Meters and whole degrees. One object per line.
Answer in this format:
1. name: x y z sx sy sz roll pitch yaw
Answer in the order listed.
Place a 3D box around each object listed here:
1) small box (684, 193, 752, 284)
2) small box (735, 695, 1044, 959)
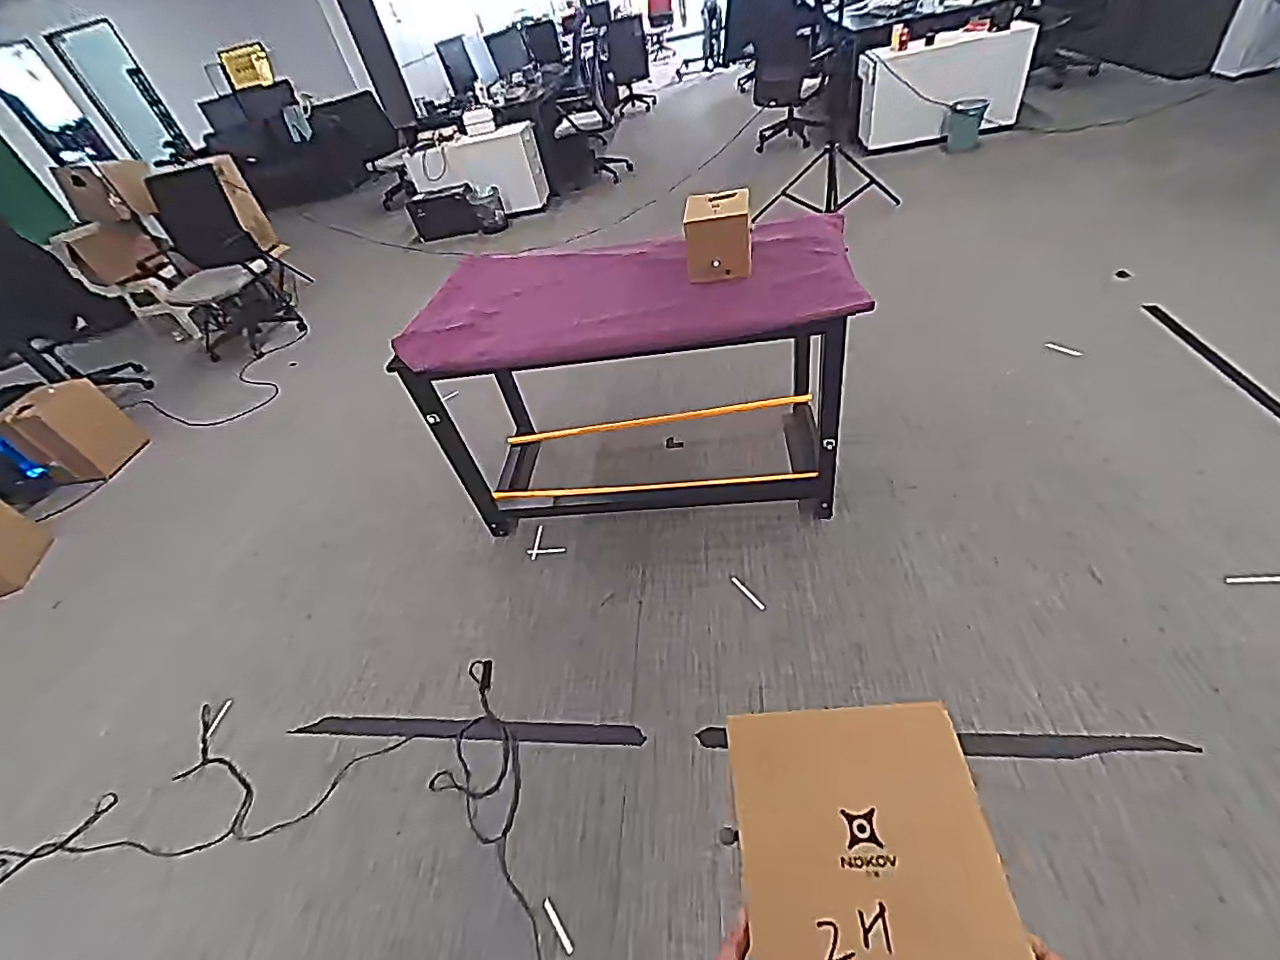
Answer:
1. small box: 0.217 -0.655 1.473 0.168 0.176 0.179 -2 45 13
2. small box: 0.167 0.287 0.423 0.168 0.176 0.179 -7 50 8
